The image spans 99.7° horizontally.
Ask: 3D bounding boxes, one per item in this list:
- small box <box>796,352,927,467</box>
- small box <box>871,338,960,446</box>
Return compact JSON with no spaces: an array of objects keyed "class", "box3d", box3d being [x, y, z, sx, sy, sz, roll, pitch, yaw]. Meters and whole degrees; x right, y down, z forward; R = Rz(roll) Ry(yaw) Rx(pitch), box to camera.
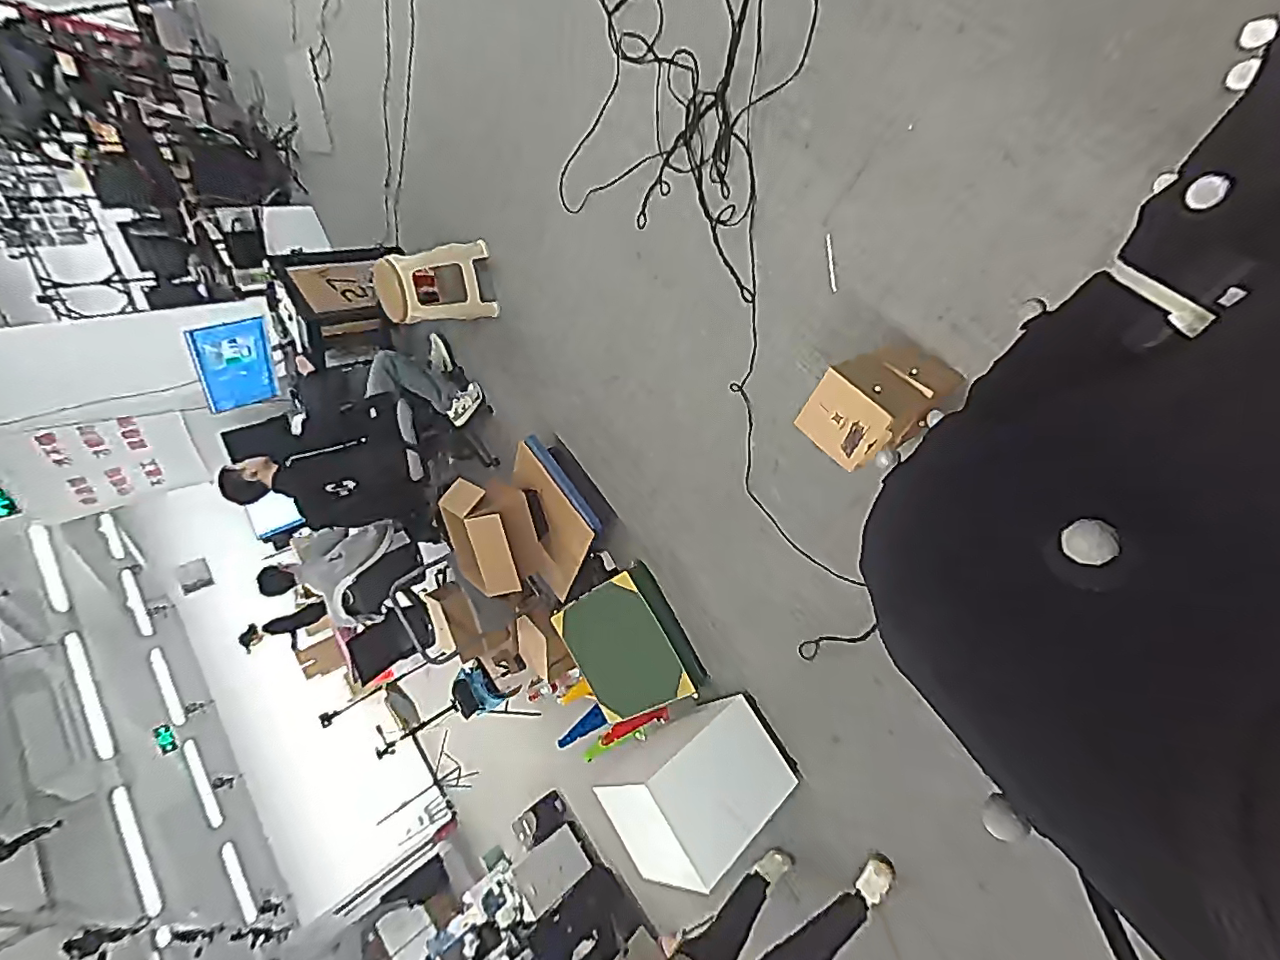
[{"class":"small box","box3d":[0.495,-0.164,1.206,0.179,0.176,0.168,48,140,23]},{"class":"small box","box3d":[0.624,-0.216,1.296,0.168,0.176,0.179,44,139,27]}]
